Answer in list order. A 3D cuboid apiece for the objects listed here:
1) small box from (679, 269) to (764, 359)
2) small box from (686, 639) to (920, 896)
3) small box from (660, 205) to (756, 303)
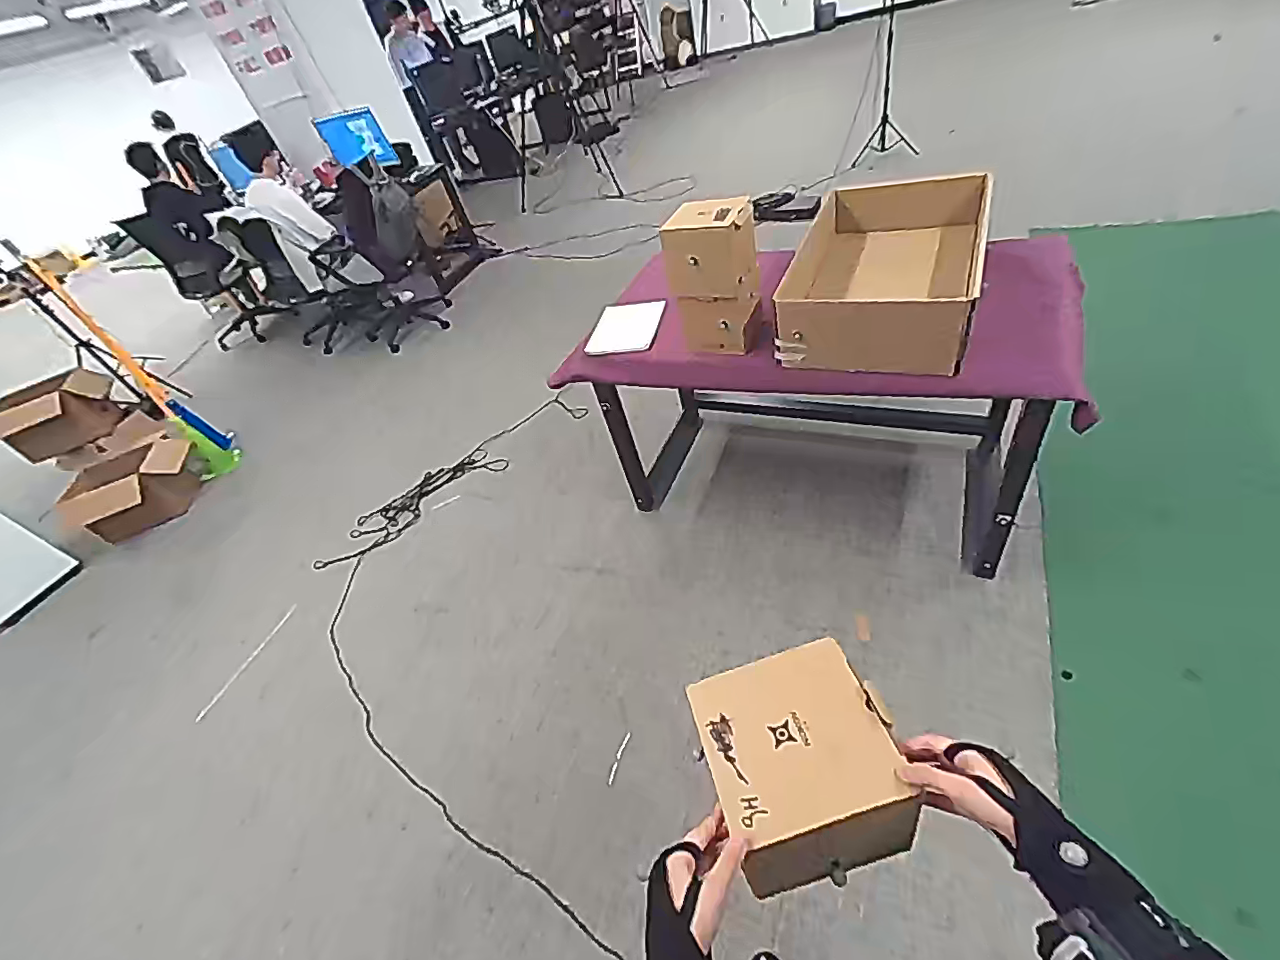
[{"bbox_3d":[0.222,-0.434,1.423,0.168,0.176,0.179,10,48,27],"label":"small box"},{"bbox_3d":[0.163,0.306,0.577,0.179,0.176,0.168,-18,38,-1],"label":"small box"},{"bbox_3d":[0.174,-0.543,1.309,0.179,0.176,0.168,10,49,27],"label":"small box"}]
